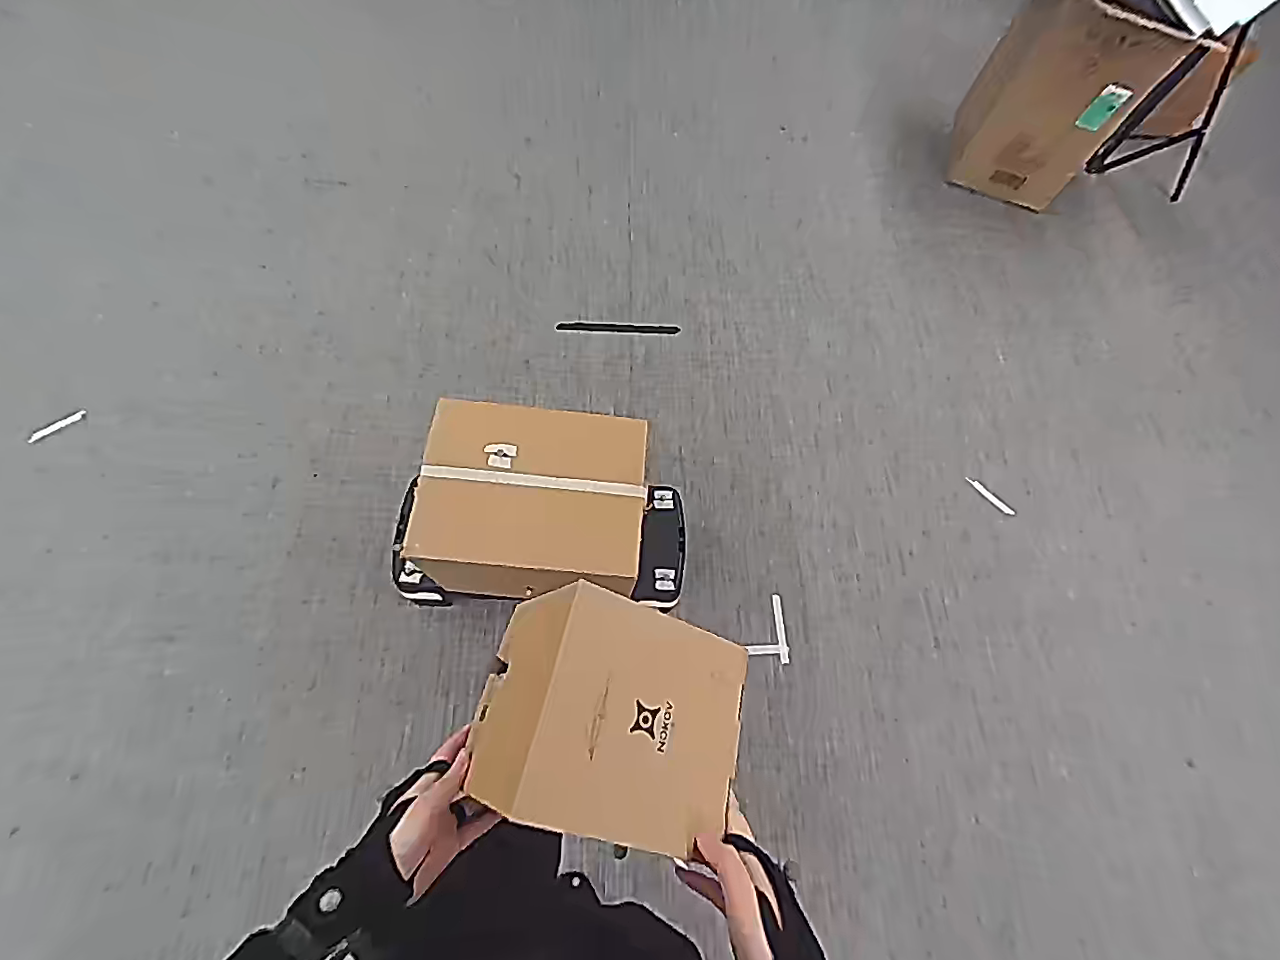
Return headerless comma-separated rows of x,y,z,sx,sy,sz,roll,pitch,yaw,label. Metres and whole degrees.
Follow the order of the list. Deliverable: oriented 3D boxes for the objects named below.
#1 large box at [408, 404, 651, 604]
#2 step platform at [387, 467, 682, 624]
-0.192,0.067,1.108,0.408,0.320,0.320,5,66,-2,large box
-0.239,0.162,1.324,0.684,0.204,0.286,7,67,-1,step platform
